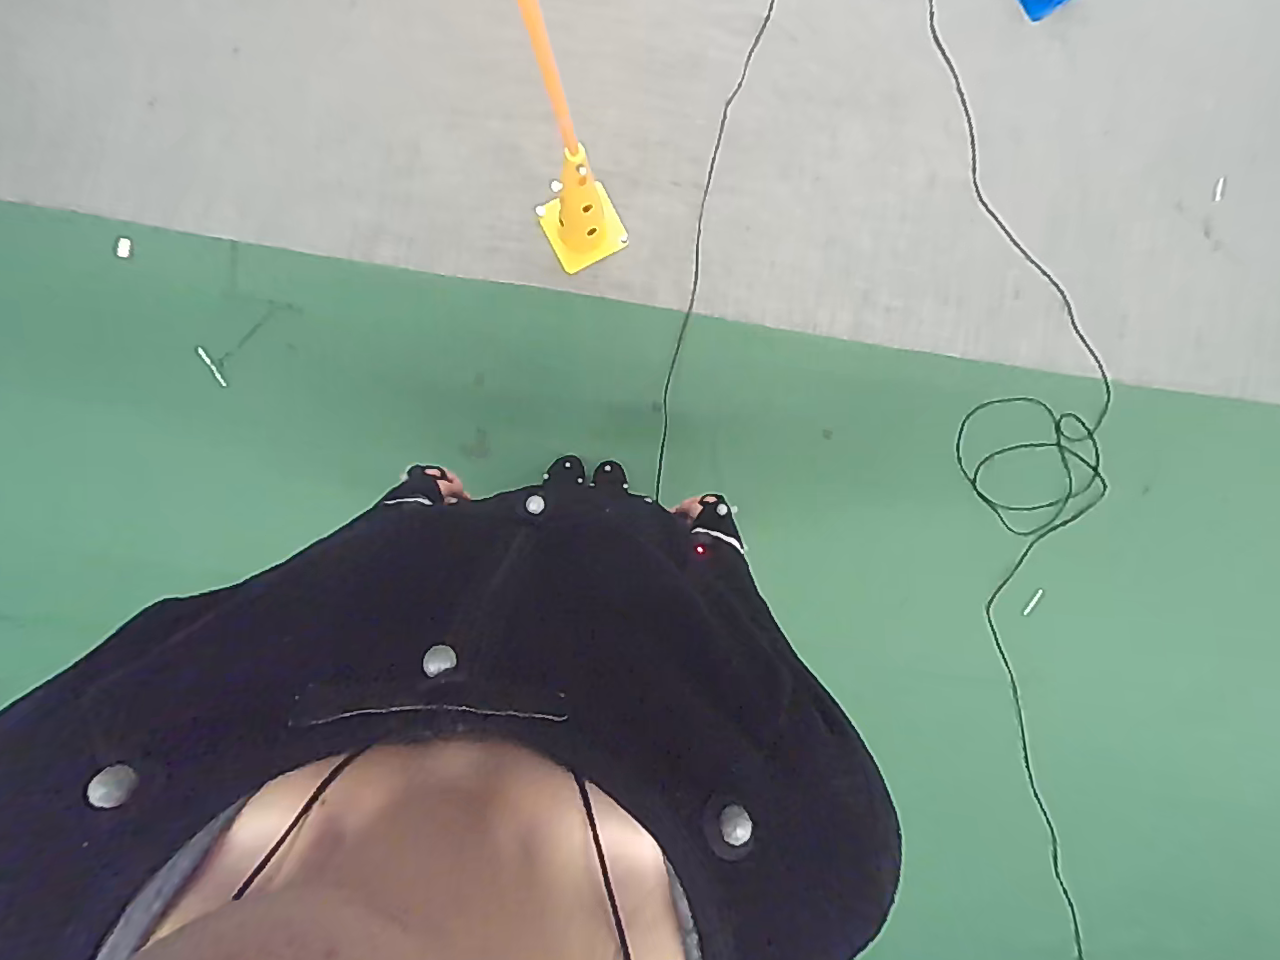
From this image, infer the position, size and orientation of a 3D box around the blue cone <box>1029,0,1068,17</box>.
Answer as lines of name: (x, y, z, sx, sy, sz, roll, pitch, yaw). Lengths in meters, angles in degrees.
blue cone: (1.179, -1.449, 1.382, 0.193, 0.380, 0.192, -36, 92, -4)
